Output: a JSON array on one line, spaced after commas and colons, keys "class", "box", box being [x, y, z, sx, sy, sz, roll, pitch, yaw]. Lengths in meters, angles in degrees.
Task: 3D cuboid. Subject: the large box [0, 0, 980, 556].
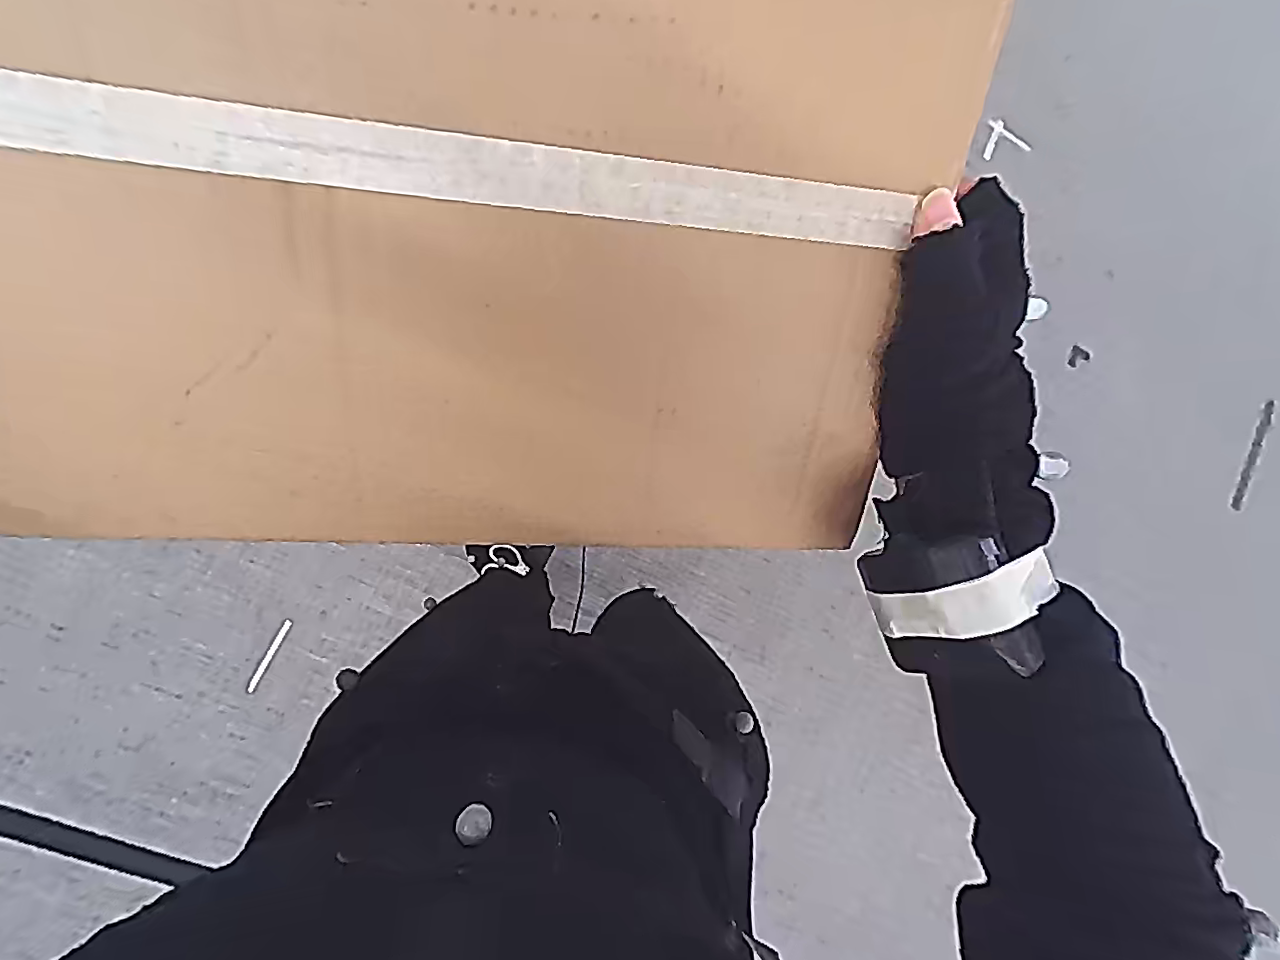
[{"class": "large box", "box": [-0.097, -0.166, 0.337, 0.408, 0.320, 0.320, 1, 114, -10]}]
